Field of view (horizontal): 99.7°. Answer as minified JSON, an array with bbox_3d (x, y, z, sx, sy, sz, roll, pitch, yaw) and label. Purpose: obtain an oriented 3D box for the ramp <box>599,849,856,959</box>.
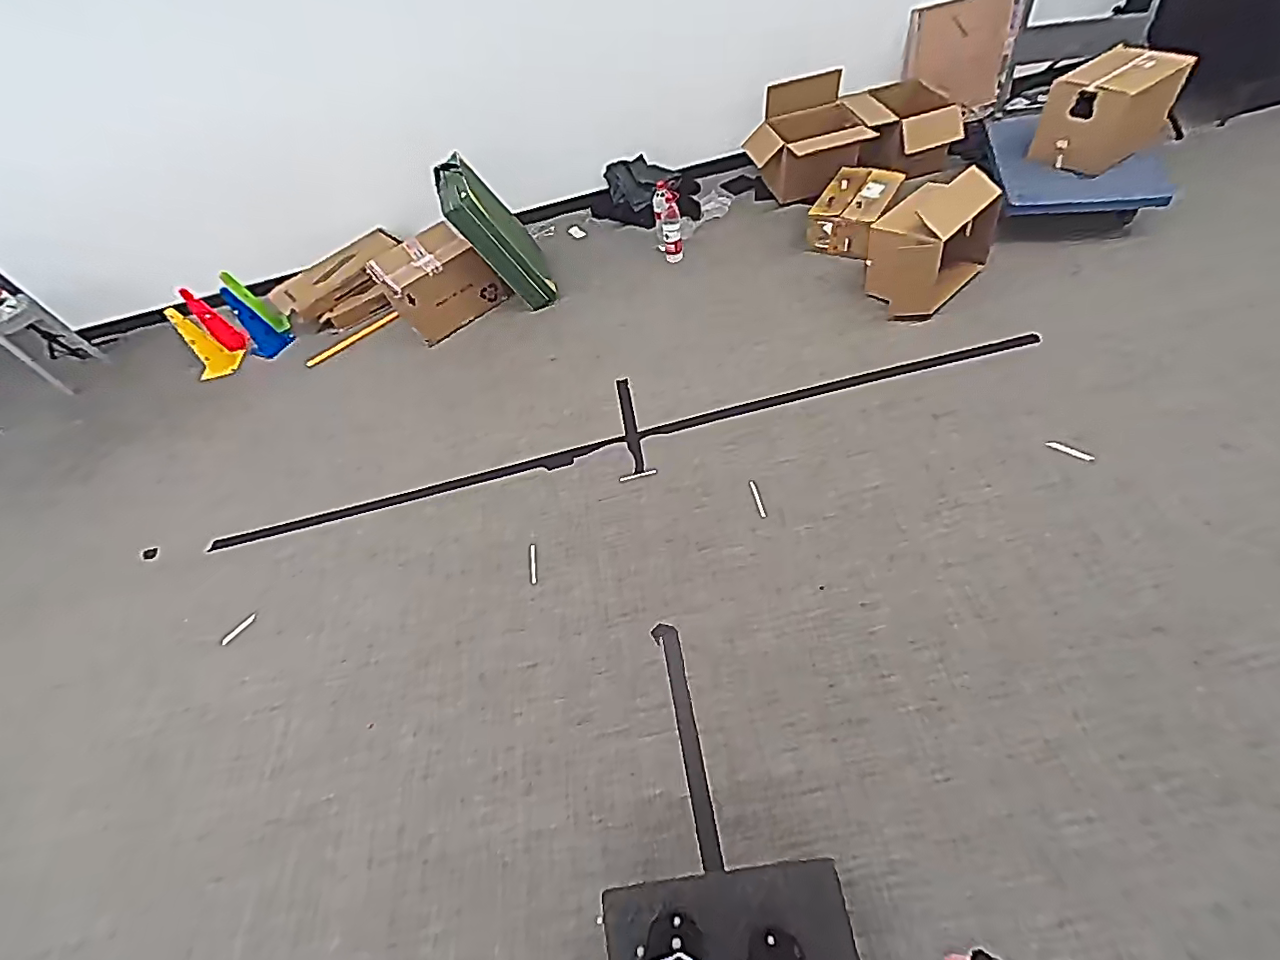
[{"bbox_3d":[0.224,1.244,0.910,0.509,0.206,0.991,-12,53,2],"label":"ramp"}]
